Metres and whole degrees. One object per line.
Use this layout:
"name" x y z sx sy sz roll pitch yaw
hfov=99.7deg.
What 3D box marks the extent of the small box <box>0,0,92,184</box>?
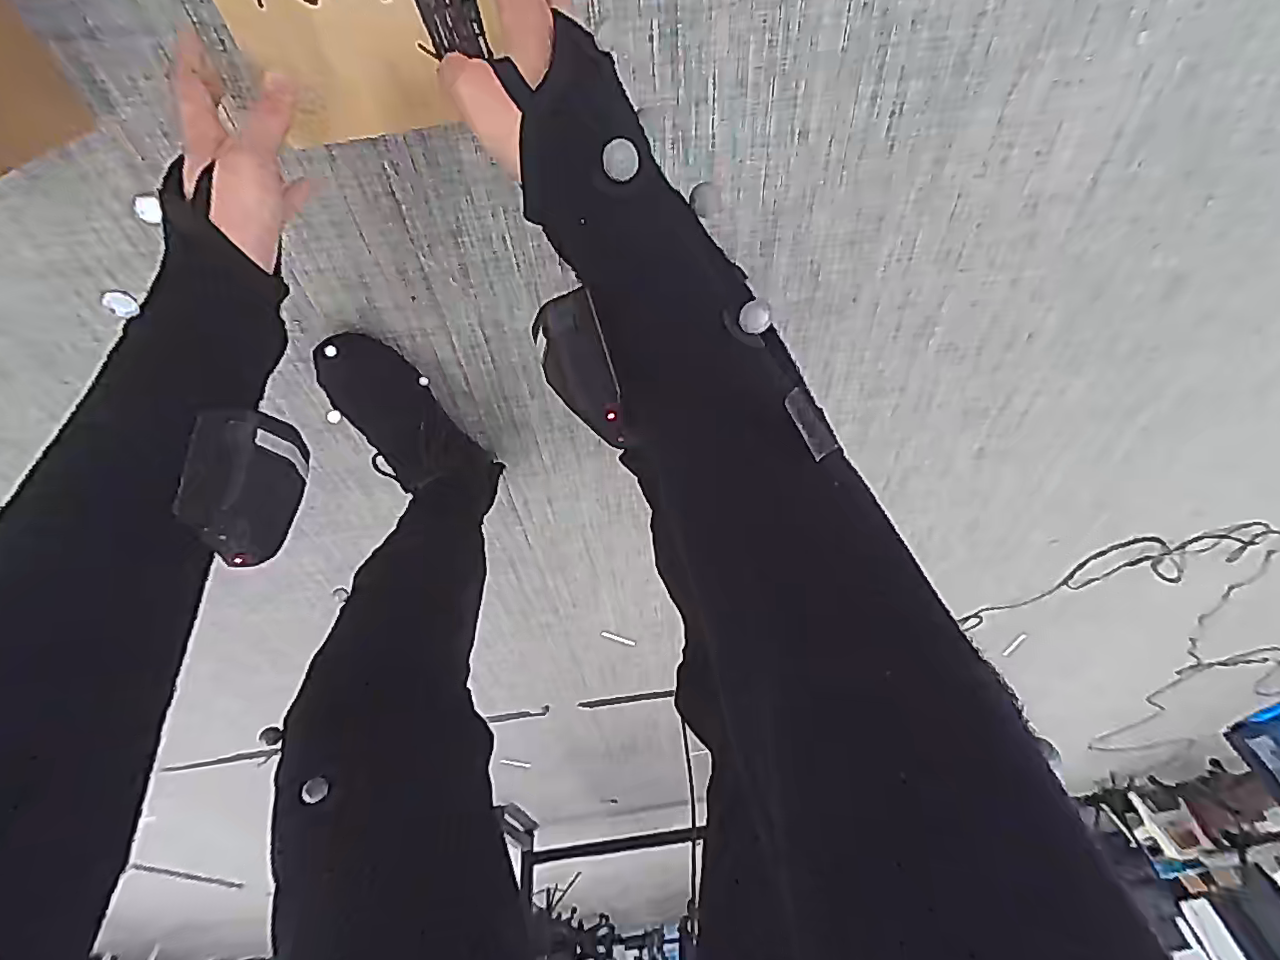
"small box" -0.550 -0.289 0.355 0.168 0.176 0.179 -10 138 2
